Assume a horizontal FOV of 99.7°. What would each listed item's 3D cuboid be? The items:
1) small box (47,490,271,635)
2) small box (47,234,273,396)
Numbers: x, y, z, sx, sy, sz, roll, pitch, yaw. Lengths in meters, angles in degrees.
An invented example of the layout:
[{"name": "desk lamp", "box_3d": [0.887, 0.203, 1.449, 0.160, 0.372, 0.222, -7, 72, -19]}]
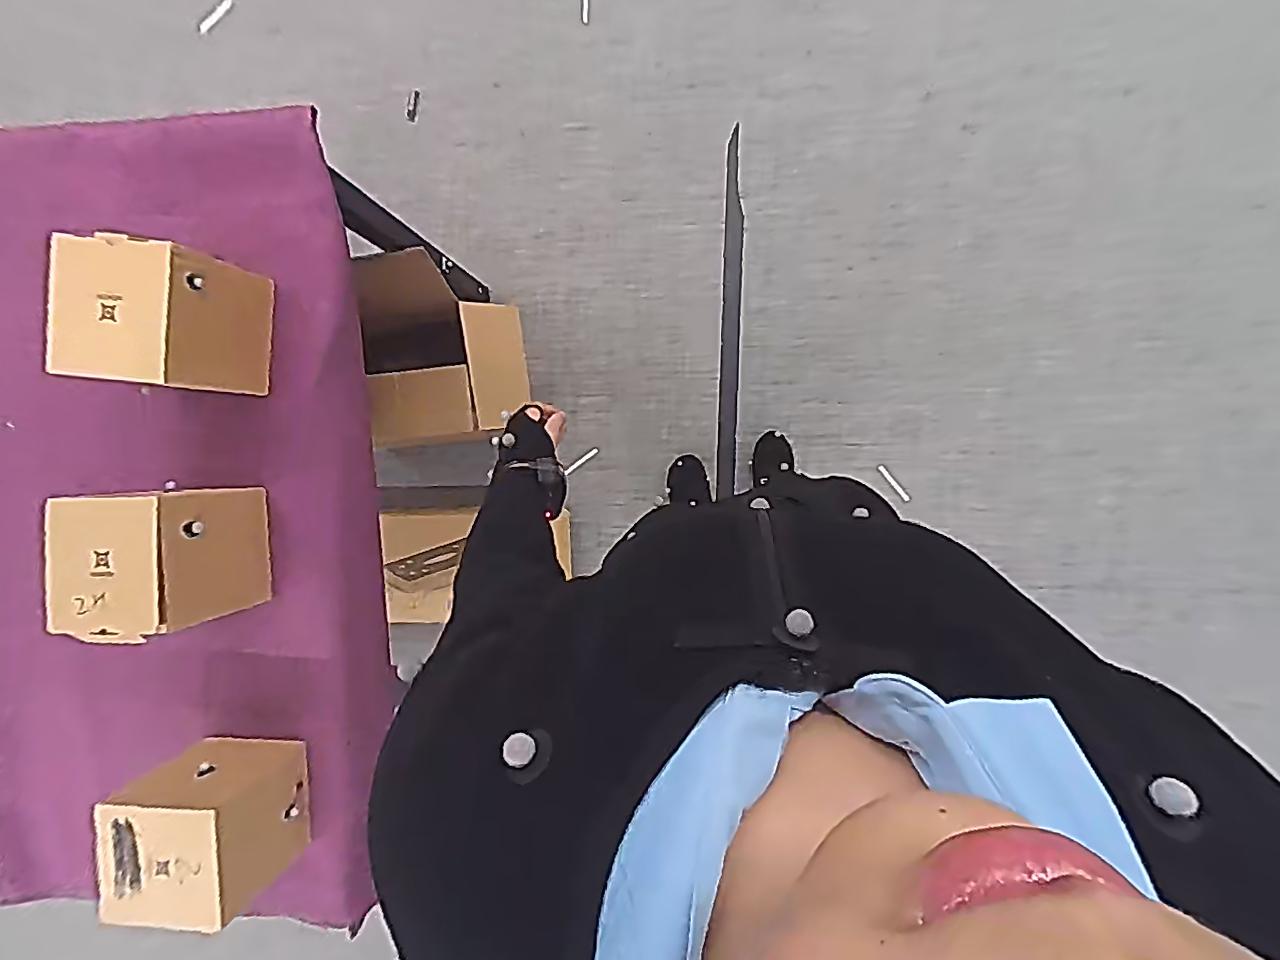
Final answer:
[{"name": "small box", "box_3d": [-0.656, 0.104, 0.757, 0.168, 0.176, 0.179, -1, 93, 8]}, {"name": "small box", "box_3d": [-0.641, -0.213, 0.740, 0.168, 0.176, 0.179, 6, 93, 5]}]
